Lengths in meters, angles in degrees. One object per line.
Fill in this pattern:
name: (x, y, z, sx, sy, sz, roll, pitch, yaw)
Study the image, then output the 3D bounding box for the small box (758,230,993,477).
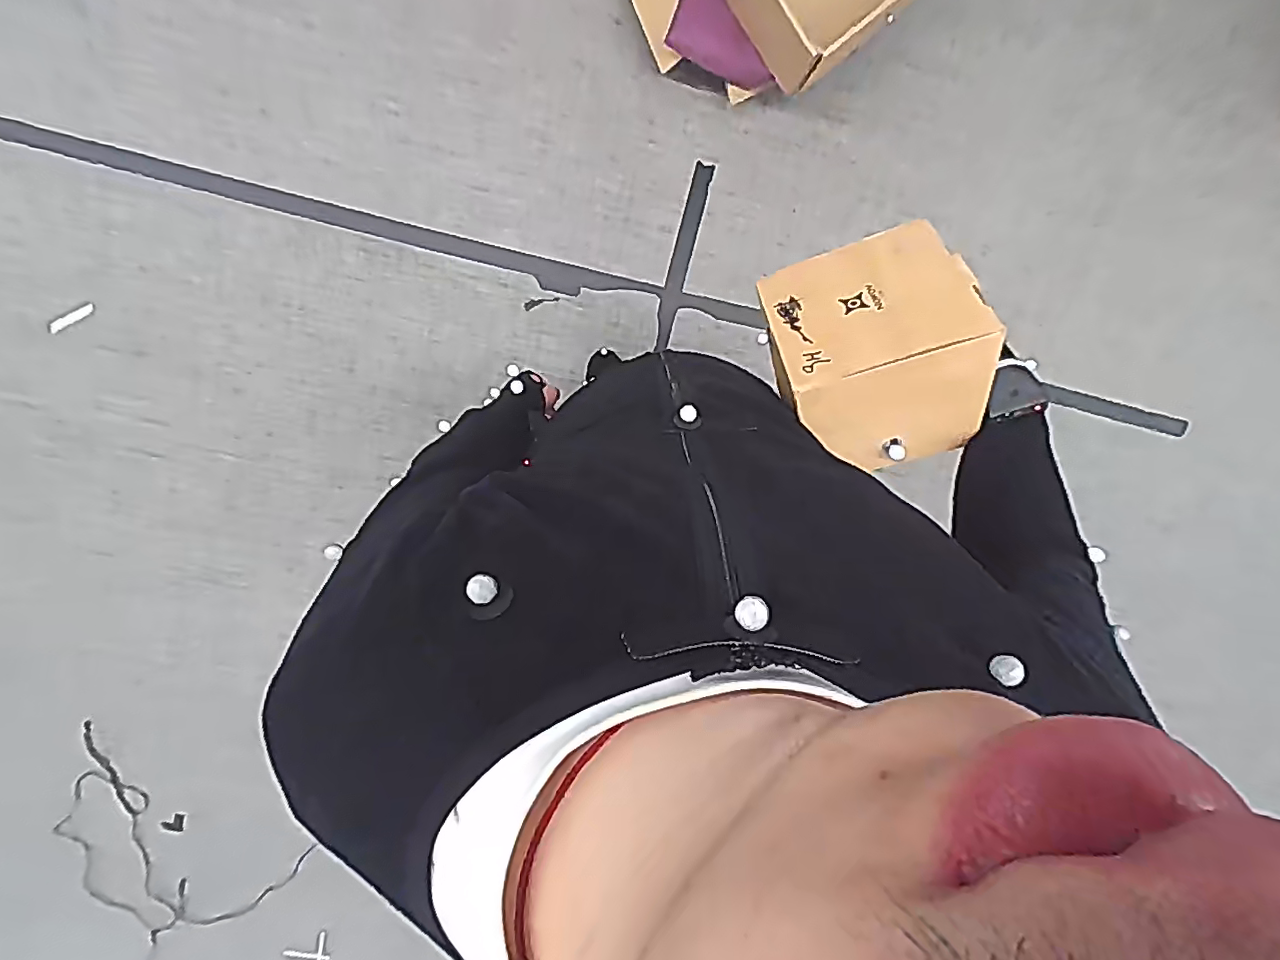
small box: (0.242, -0.127, 0.590, 0.179, 0.168, 0.176, -16, 144, 13)
